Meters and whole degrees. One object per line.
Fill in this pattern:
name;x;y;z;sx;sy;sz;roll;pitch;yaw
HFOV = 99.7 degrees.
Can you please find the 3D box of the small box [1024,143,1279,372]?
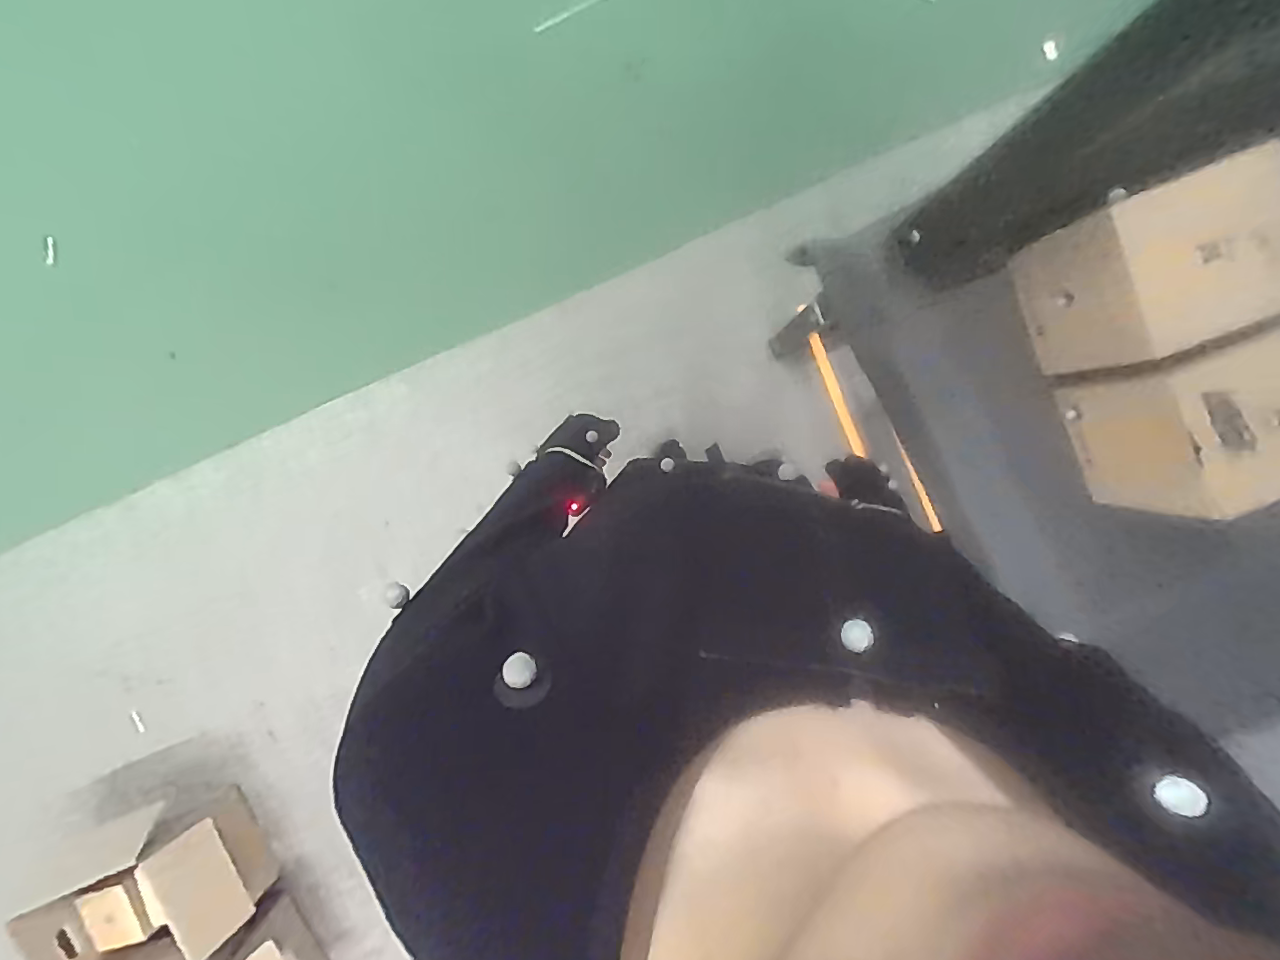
small box;0.583;-0.233;0.617;0.179;0.176;0.168;-21;95;3
